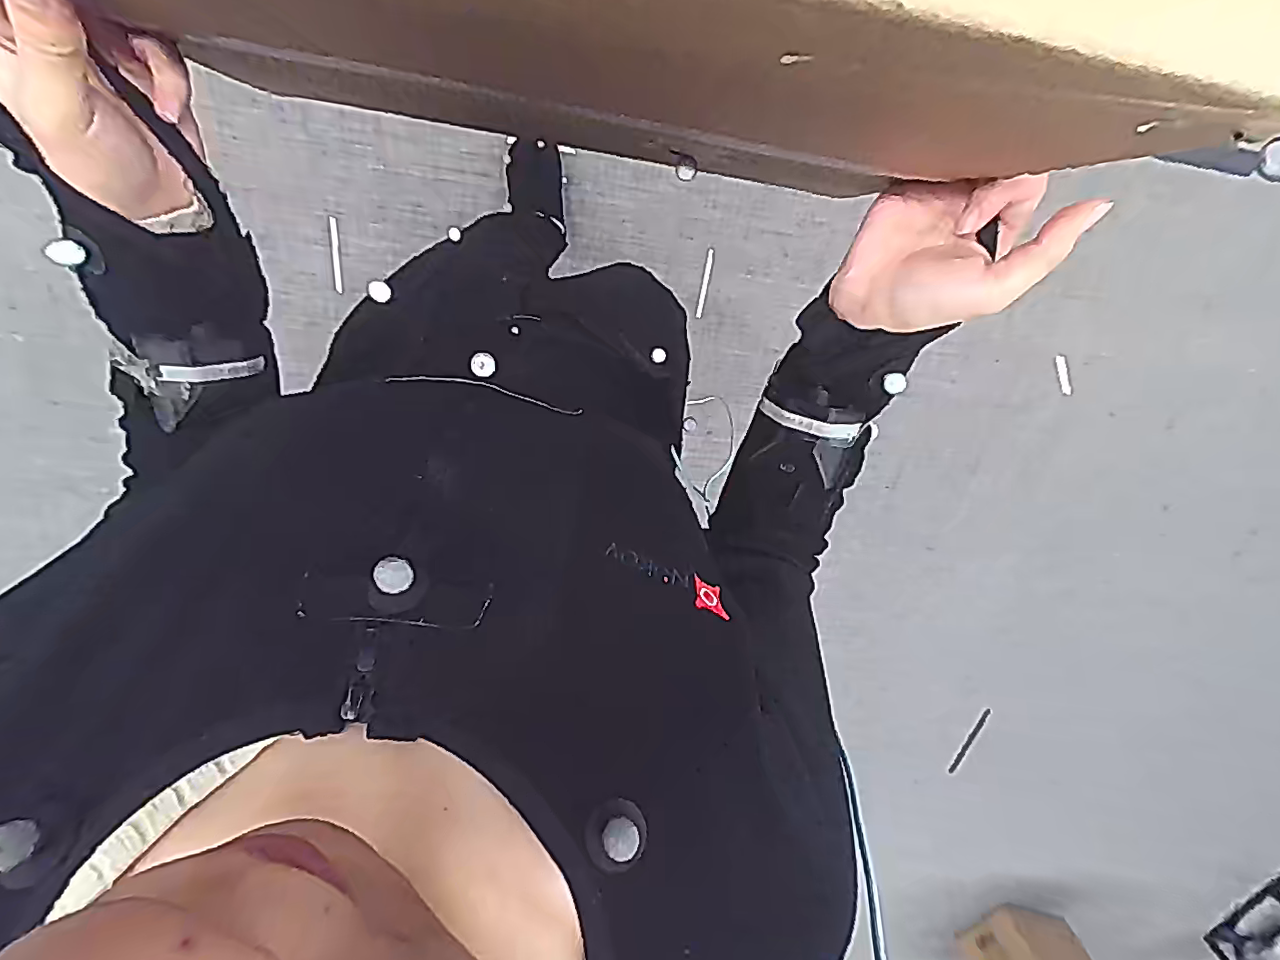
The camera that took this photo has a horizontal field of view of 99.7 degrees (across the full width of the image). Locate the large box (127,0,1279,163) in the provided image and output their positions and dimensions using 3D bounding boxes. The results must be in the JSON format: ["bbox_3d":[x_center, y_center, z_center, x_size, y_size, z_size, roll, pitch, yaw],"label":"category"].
[{"bbox_3d":[-0.013,-0.324,0.173,0.408,0.320,0.320,5,116,-8],"label":"large box"}]
